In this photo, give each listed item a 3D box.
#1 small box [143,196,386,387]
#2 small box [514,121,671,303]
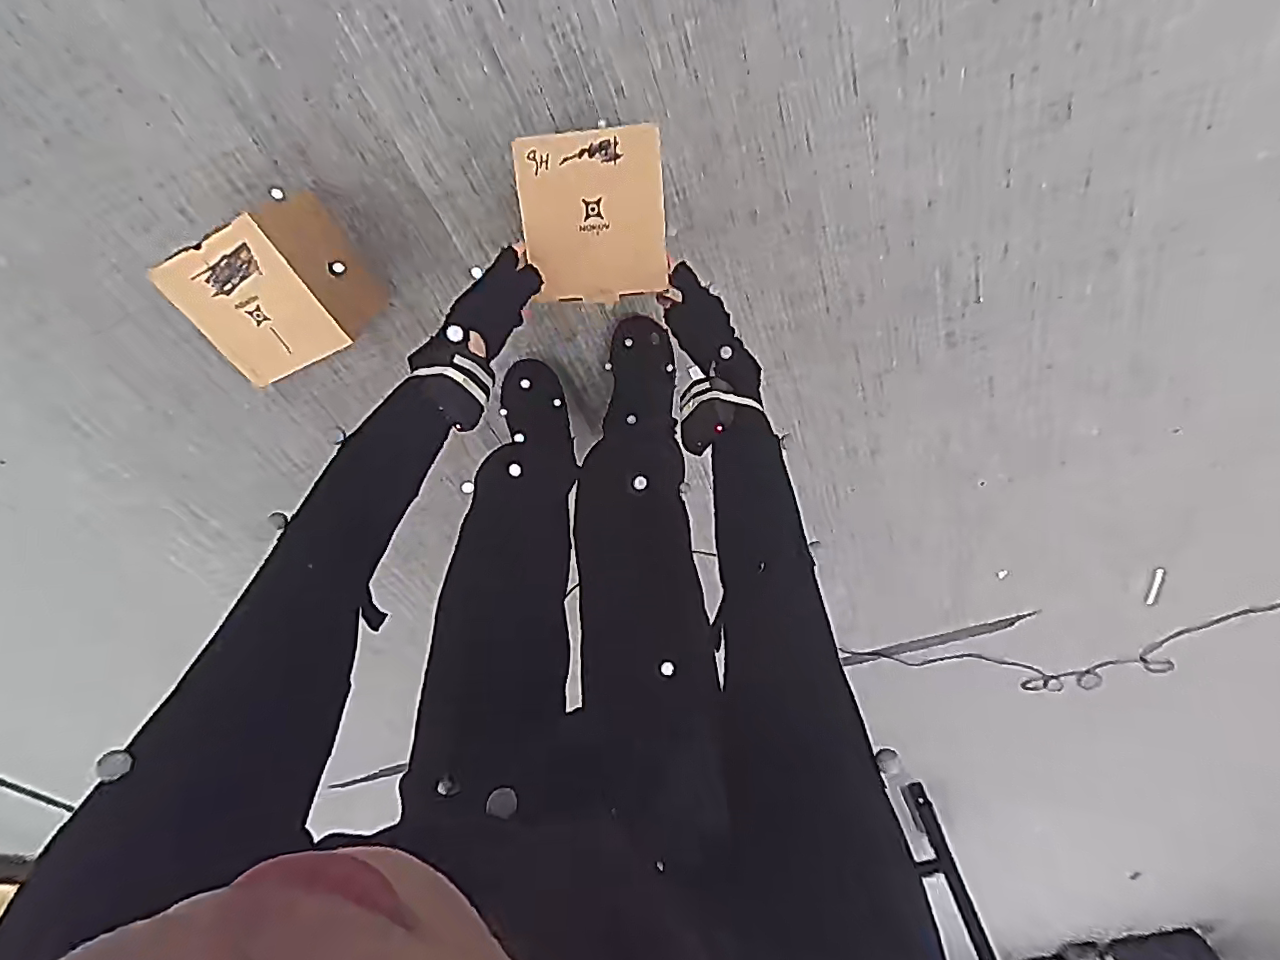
[{"bbox_3d":[-0.486,-0.263,0.733,0.168,0.176,0.179,-20,127,11],"label":"small box"},{"bbox_3d":[-0.046,-0.326,0.682,0.168,0.176,0.179,-4,111,3],"label":"small box"}]
